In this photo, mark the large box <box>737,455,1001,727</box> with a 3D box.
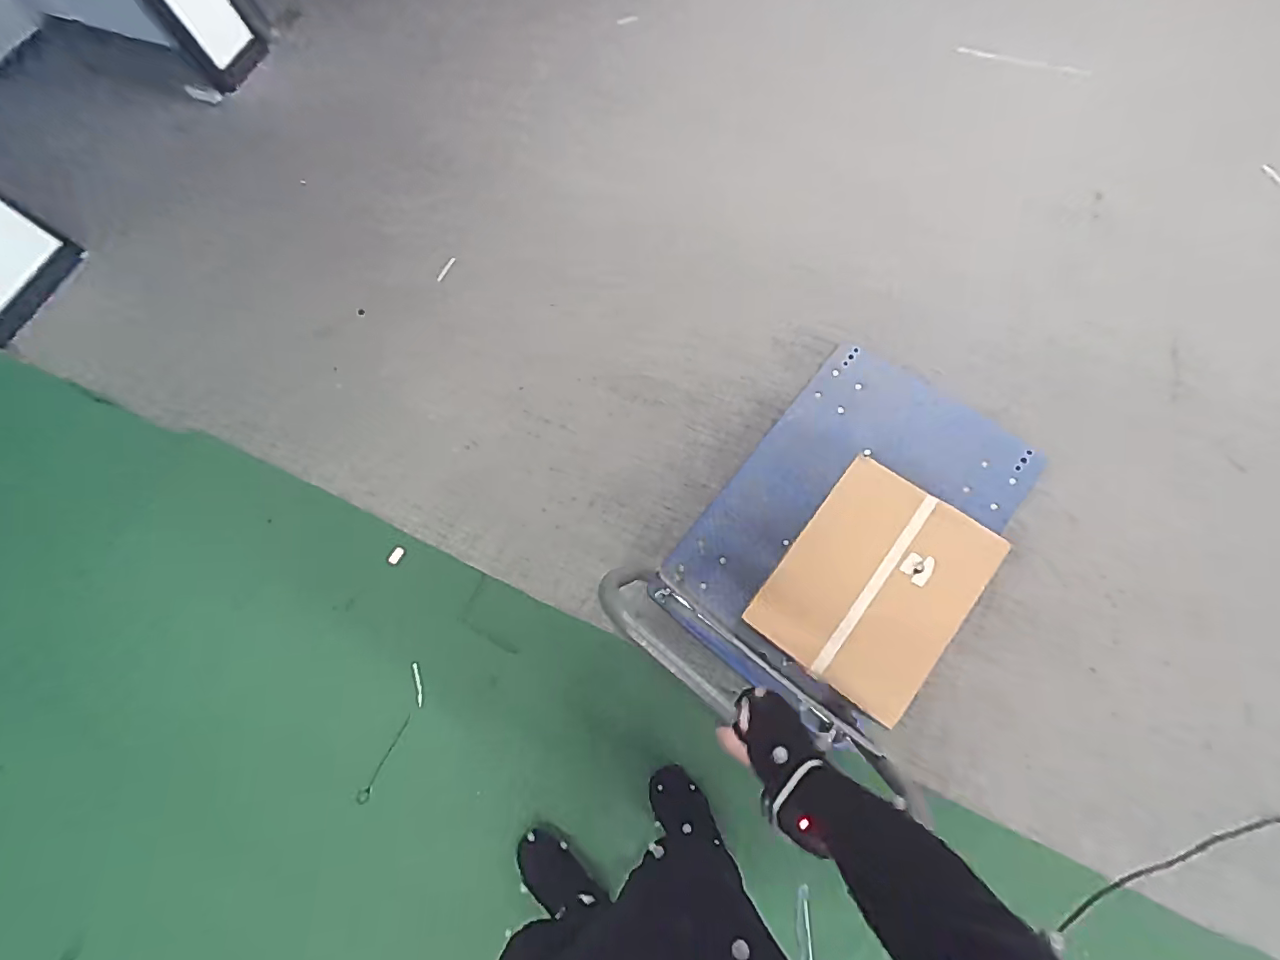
[{"bbox_3d":[0.441,0.230,1.135,0.320,0.320,0.408,36,82,15],"label":"large box"}]
